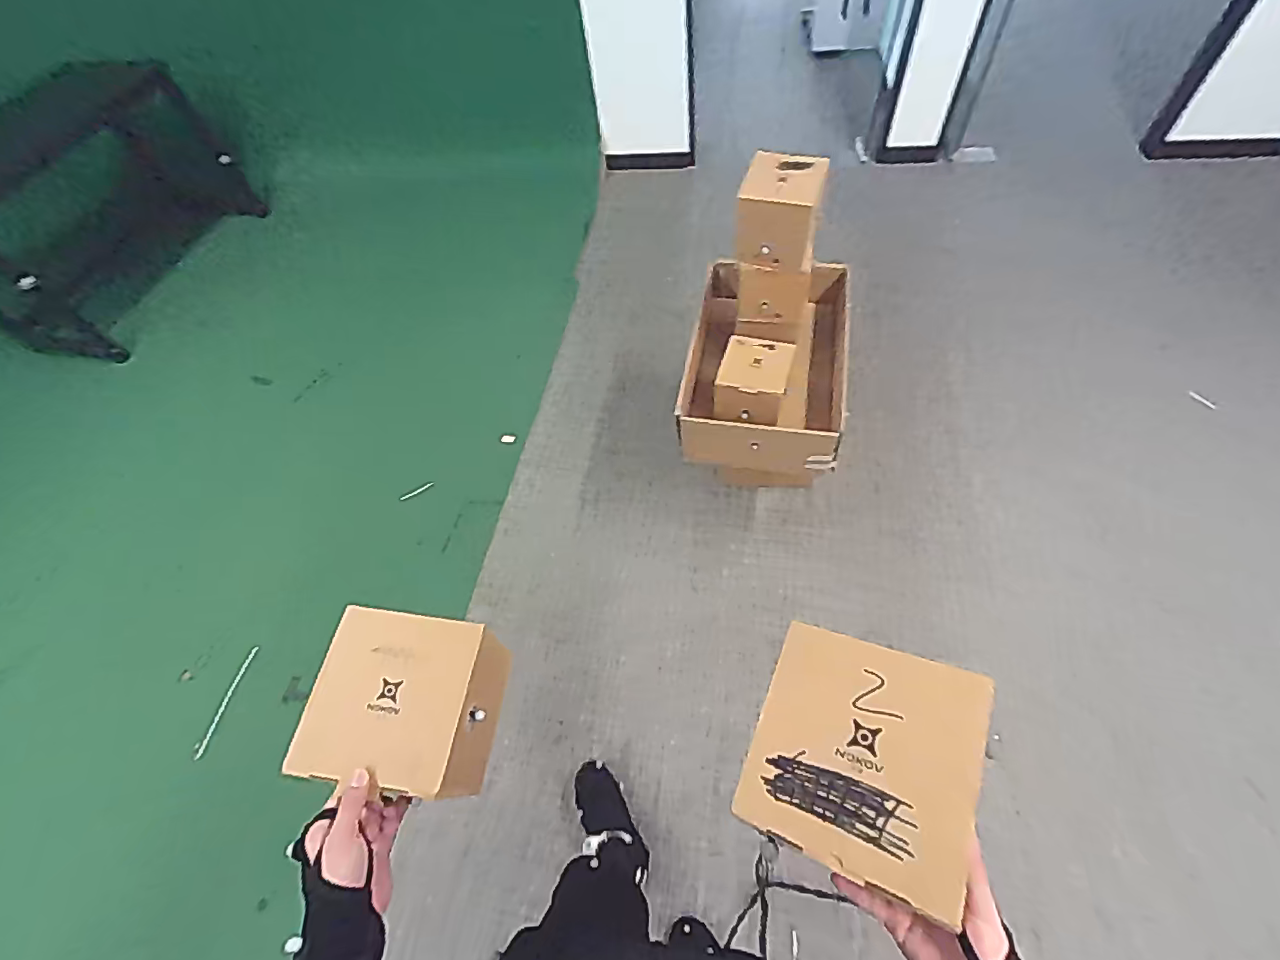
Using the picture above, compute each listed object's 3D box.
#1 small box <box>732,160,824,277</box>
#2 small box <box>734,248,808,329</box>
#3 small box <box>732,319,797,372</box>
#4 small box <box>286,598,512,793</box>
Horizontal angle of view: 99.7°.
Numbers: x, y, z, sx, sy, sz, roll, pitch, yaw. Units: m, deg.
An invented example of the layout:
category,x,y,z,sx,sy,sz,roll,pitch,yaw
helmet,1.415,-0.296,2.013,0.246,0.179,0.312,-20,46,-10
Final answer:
category,x,y,z,sx,sy,sz,roll,pitch,yaw
small box,0.313,-0.605,1.255,0.168,0.176,0.179,15,63,16
small box,0.334,-0.515,1.391,0.168,0.176,0.179,6,60,11
small box,0.352,-0.432,1.529,0.168,0.176,0.179,6,60,12
small box,-0.265,0.262,0.650,0.168,0.176,0.179,8,61,4
